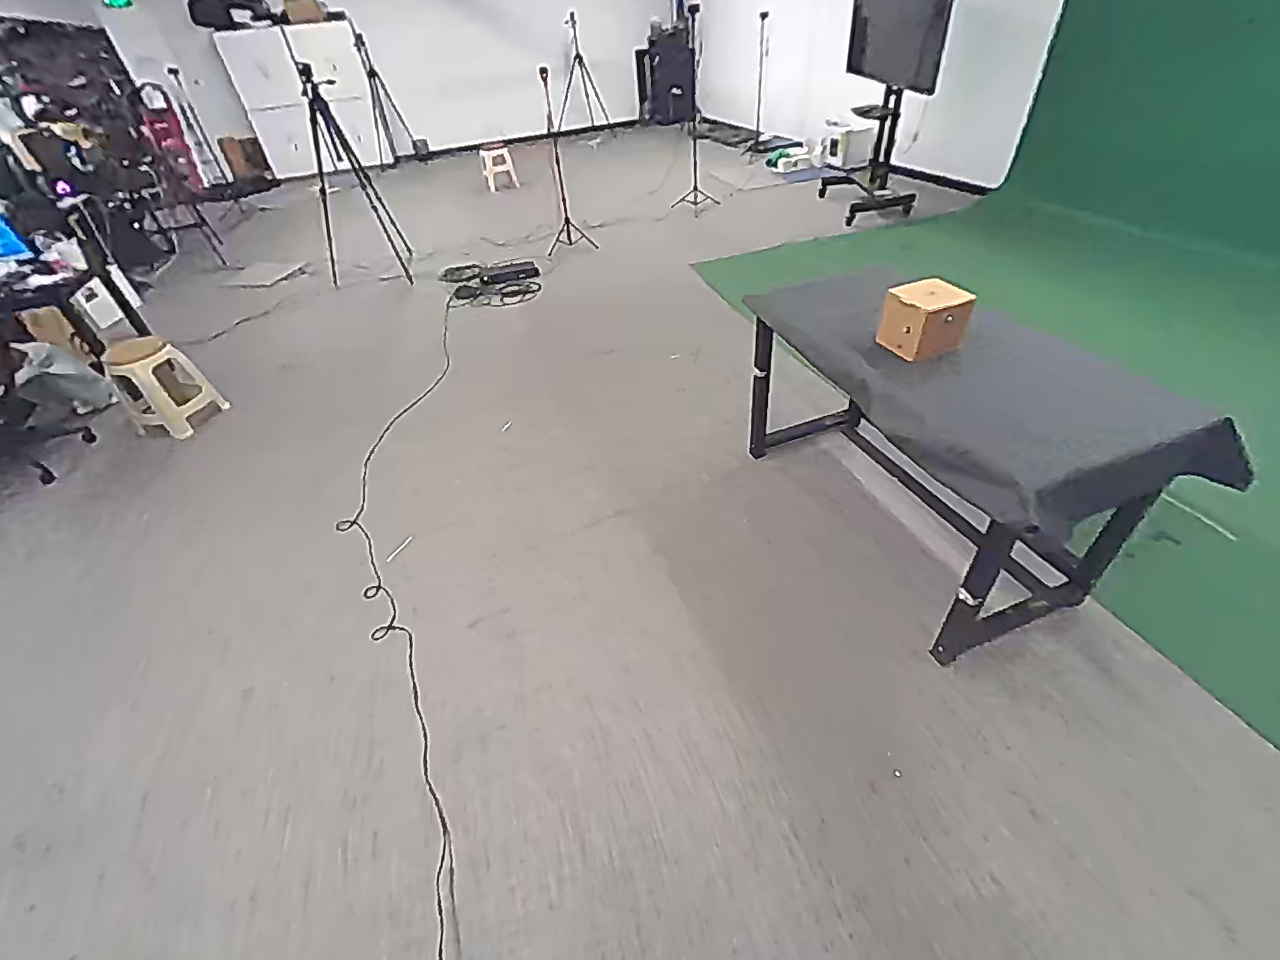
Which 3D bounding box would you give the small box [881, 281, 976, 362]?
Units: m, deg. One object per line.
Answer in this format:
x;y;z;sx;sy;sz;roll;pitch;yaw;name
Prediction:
0.848;-0.471;1.615;0.179;0.176;0.168;-16;43;-13;small box
